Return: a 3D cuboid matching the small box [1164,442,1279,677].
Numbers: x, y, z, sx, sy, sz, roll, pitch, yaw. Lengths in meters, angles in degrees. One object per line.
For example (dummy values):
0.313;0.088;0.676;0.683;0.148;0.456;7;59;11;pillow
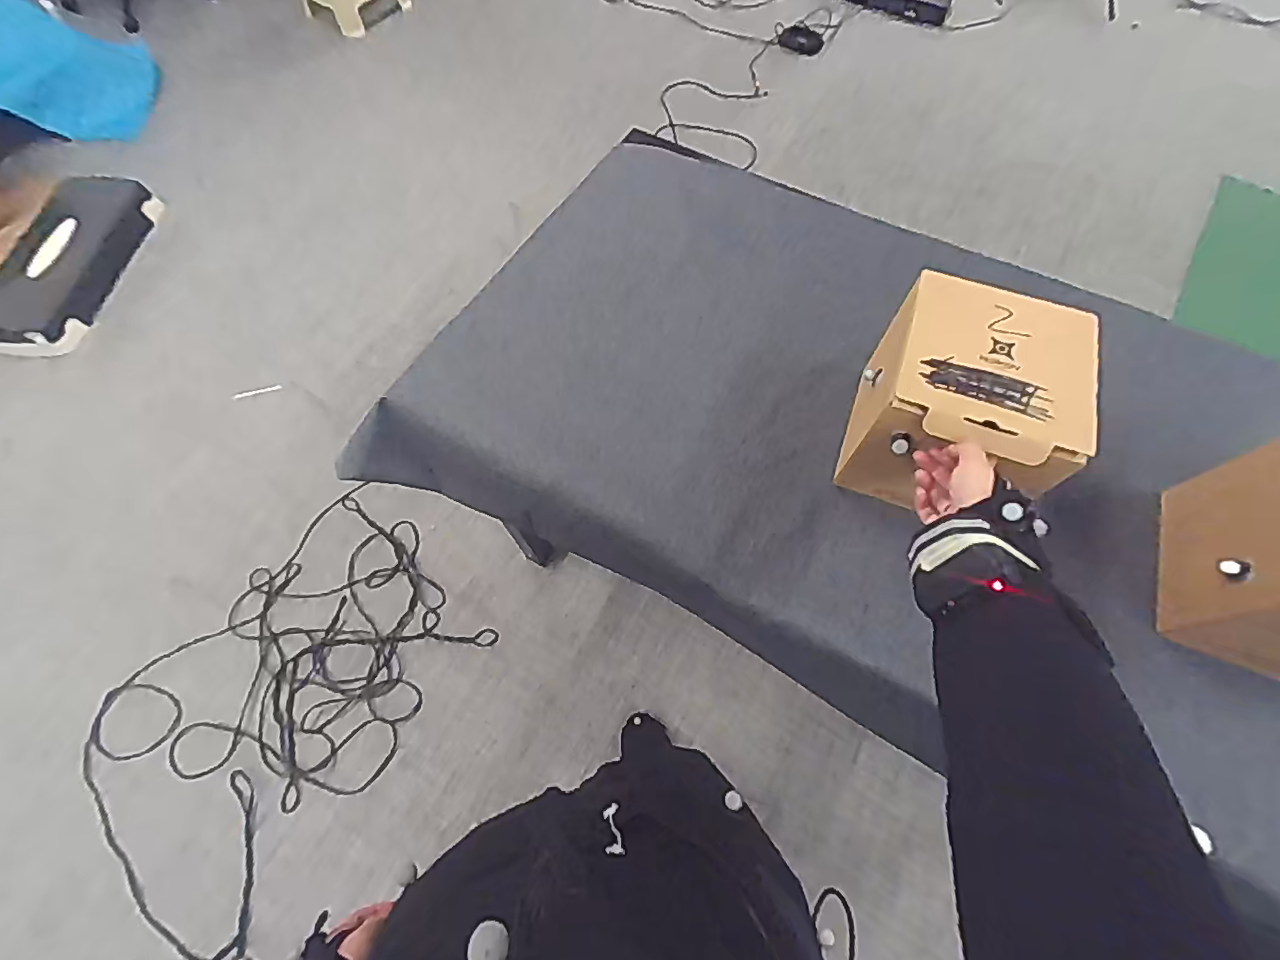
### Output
0.630;0.082;0.488;0.168;0.176;0.179;22;66;10;small box
